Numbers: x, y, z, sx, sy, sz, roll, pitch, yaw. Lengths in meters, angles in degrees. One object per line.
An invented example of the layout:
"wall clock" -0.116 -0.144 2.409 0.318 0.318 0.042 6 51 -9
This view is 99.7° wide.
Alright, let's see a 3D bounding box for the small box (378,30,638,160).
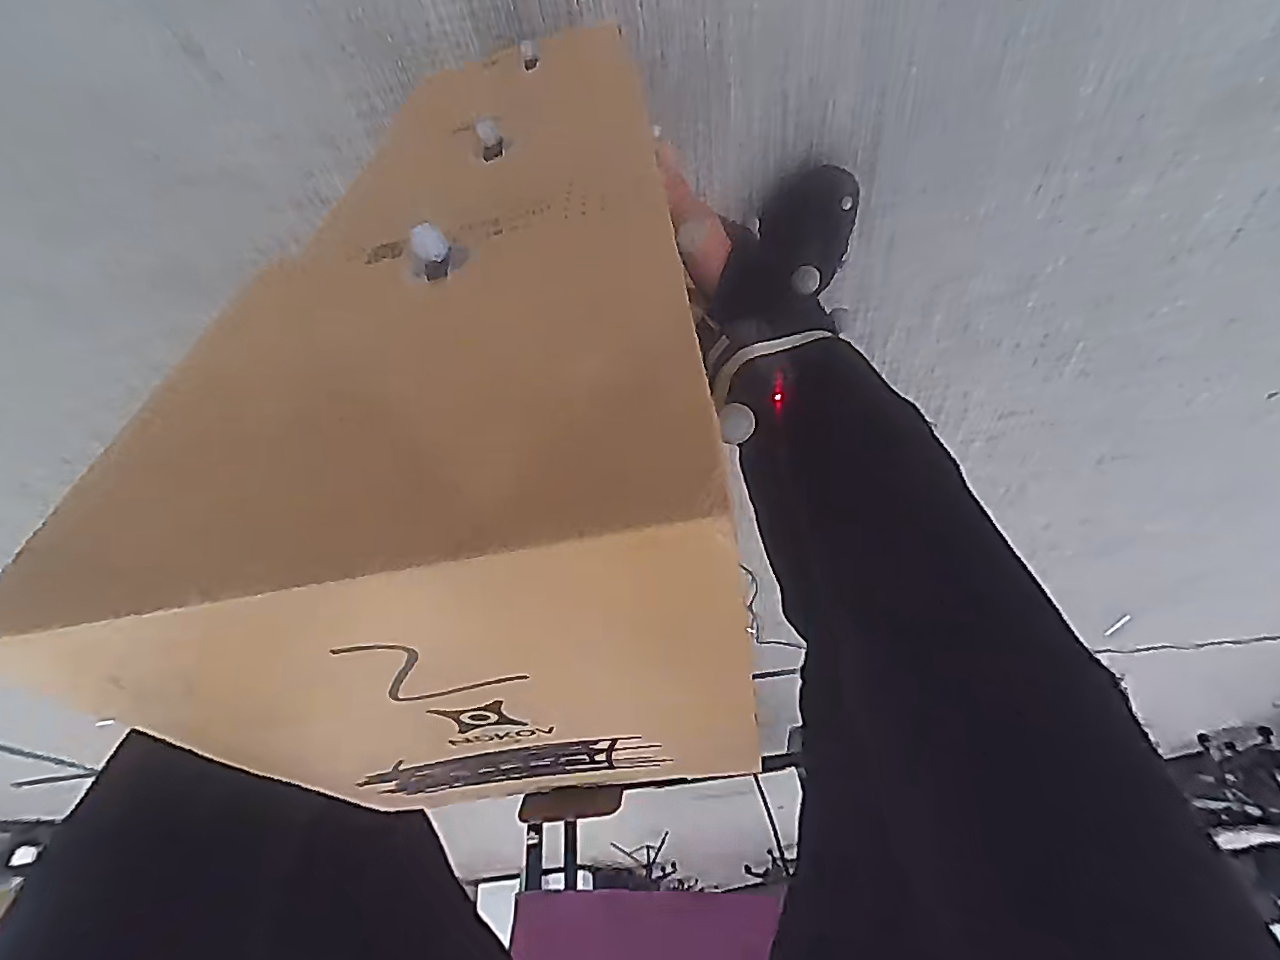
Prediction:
"small box" -0.073 -0.225 0.443 0.168 0.176 0.179 -11 138 6
